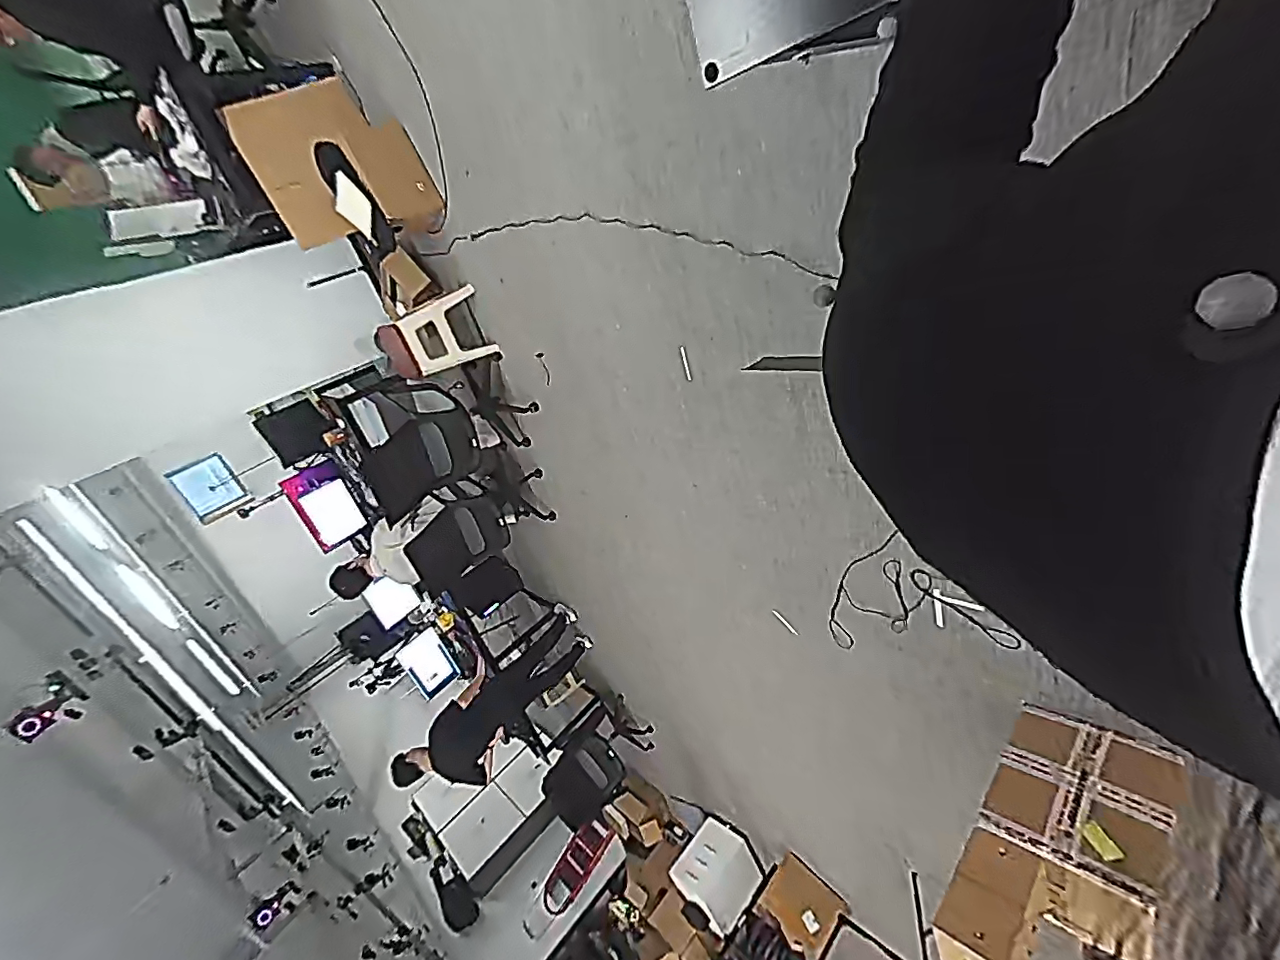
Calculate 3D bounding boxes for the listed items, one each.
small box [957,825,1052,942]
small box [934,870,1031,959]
[{"bbox_3d":[1.038,1.133,1.539,0.179,0.176,0.168,3,120,51],"label":"small box"},{"bbox_3d":[0.922,1.204,1.445,0.179,0.176,0.168,3,119,51],"label":"small box"}]
